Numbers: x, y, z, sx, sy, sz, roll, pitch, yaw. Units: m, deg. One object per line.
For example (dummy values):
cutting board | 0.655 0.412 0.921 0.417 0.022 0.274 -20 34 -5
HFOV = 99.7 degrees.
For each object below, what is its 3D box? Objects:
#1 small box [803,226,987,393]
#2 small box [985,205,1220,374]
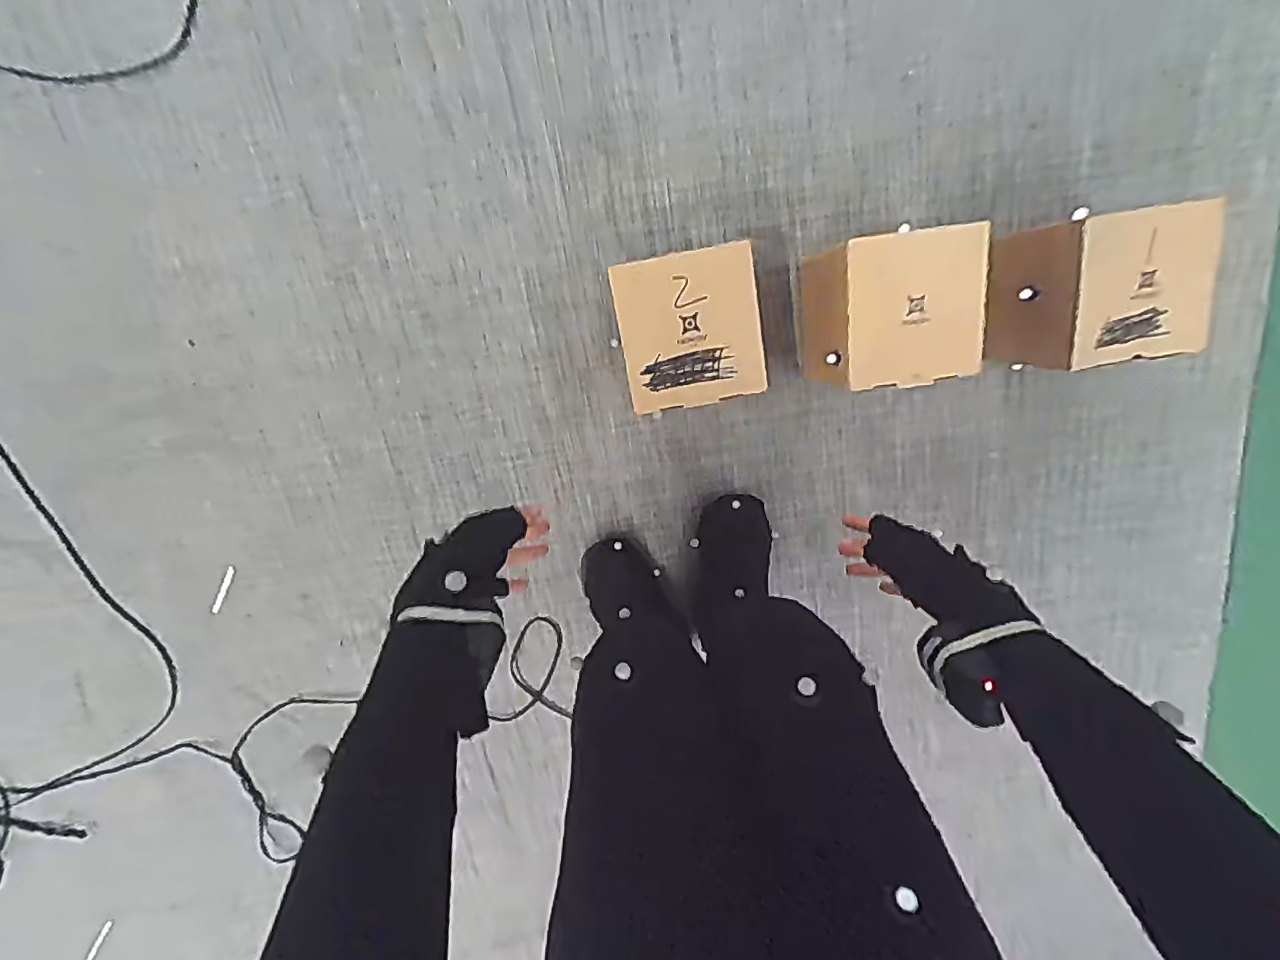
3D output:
small box | 0.323 -0.220 0.718 0.168 0.176 0.179 -7 106 0
small box | 0.591 -0.245 0.719 0.168 0.176 0.179 -8 106 0
